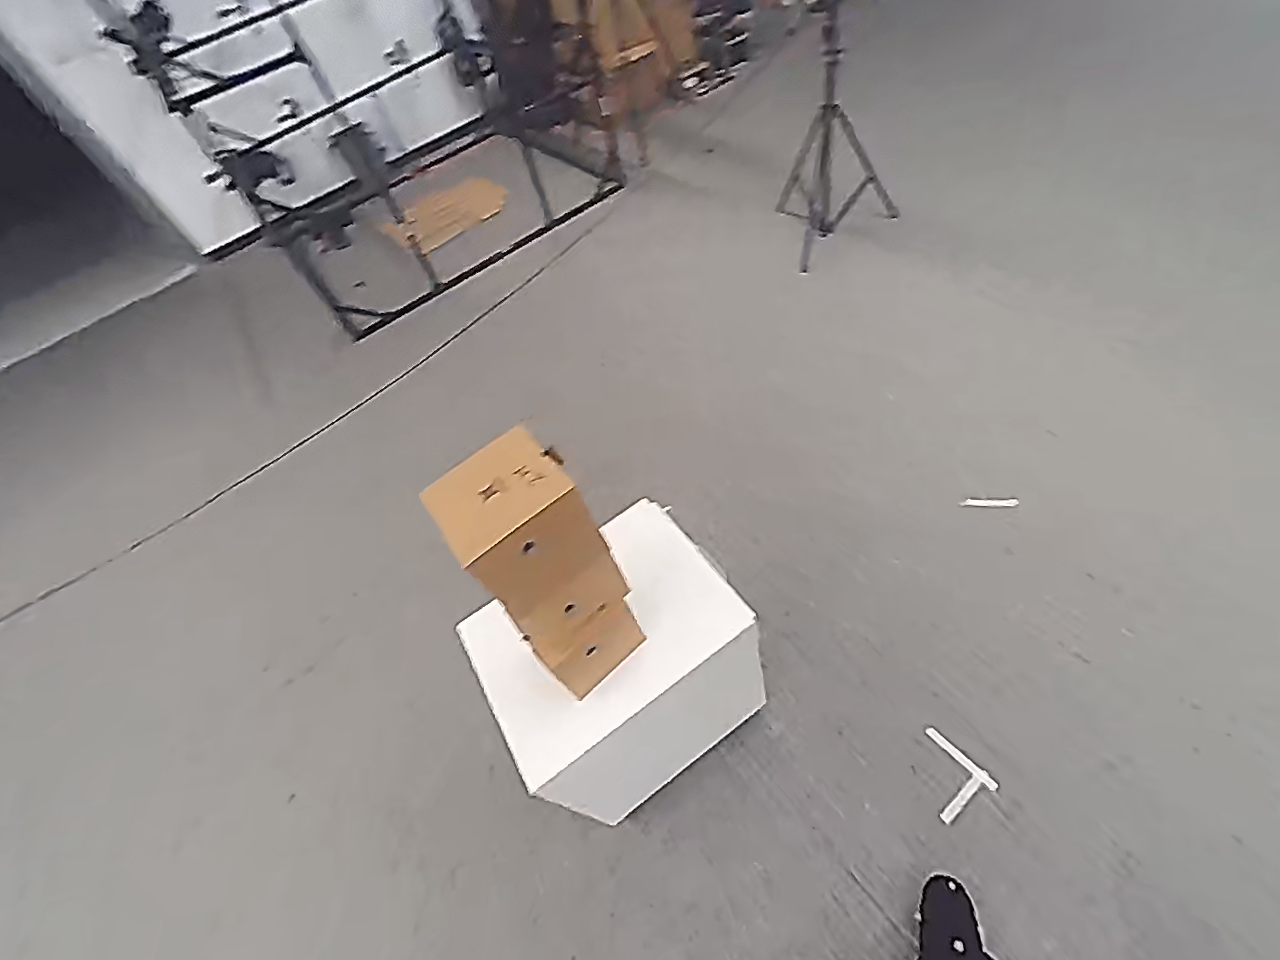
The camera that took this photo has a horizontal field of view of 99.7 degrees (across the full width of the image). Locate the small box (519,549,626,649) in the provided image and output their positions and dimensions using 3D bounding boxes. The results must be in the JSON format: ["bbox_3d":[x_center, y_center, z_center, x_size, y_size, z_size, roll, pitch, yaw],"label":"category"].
[{"bbox_3d":[-0.147,0.162,0.922,0.168,0.176,0.179,-39,52,-15],"label":"small box"}]

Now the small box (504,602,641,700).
[{"bbox_3d":[-0.121,0.284,1.030,0.179,0.176,0.168,-40,53,-17],"label":"small box"}]

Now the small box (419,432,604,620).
[{"bbox_3d":[-0.179,0.071,0.788,0.179,0.176,0.168,-37,52,-14],"label":"small box"}]
